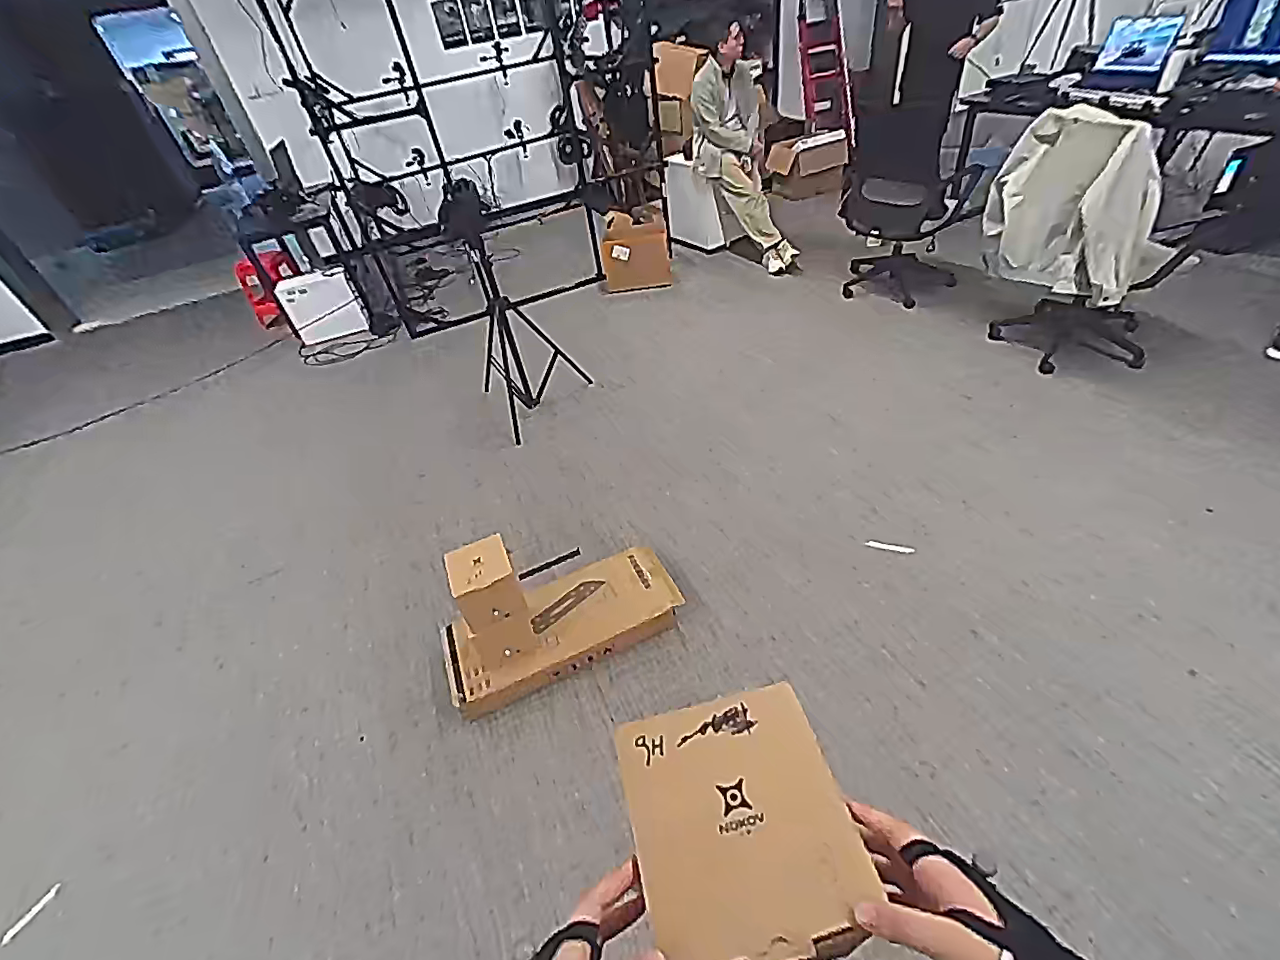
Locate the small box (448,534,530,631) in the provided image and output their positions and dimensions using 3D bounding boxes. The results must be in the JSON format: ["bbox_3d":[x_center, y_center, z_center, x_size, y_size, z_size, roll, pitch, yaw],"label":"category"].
[{"bbox_3d":[-0.428,0.292,1.534,0.168,0.176,0.179,-22,42,-12],"label":"small box"}]

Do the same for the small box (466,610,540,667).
[{"bbox_3d":[-0.419,0.426,1.633,0.168,0.176,0.179,-23,43,-14],"label":"small box"}]
